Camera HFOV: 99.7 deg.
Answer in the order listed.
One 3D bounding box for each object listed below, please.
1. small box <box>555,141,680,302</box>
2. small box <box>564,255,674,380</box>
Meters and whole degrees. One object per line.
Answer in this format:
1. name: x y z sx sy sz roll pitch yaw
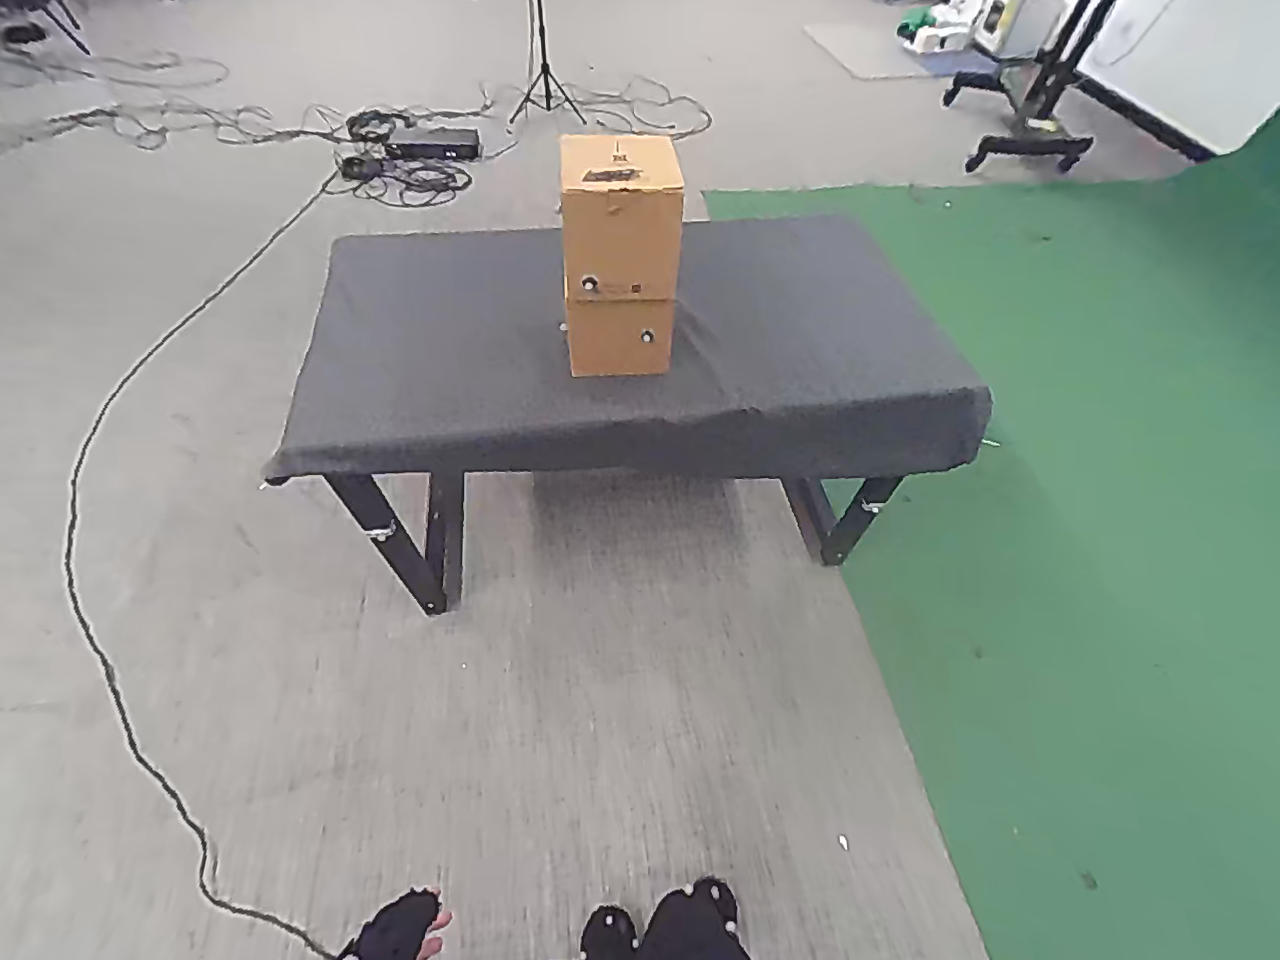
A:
1. small box: -0.037 -0.390 0.830 0.168 0.176 0.179 -6 54 -7
2. small box: -0.041 -0.296 0.964 0.179 0.176 0.168 -4 53 -4
